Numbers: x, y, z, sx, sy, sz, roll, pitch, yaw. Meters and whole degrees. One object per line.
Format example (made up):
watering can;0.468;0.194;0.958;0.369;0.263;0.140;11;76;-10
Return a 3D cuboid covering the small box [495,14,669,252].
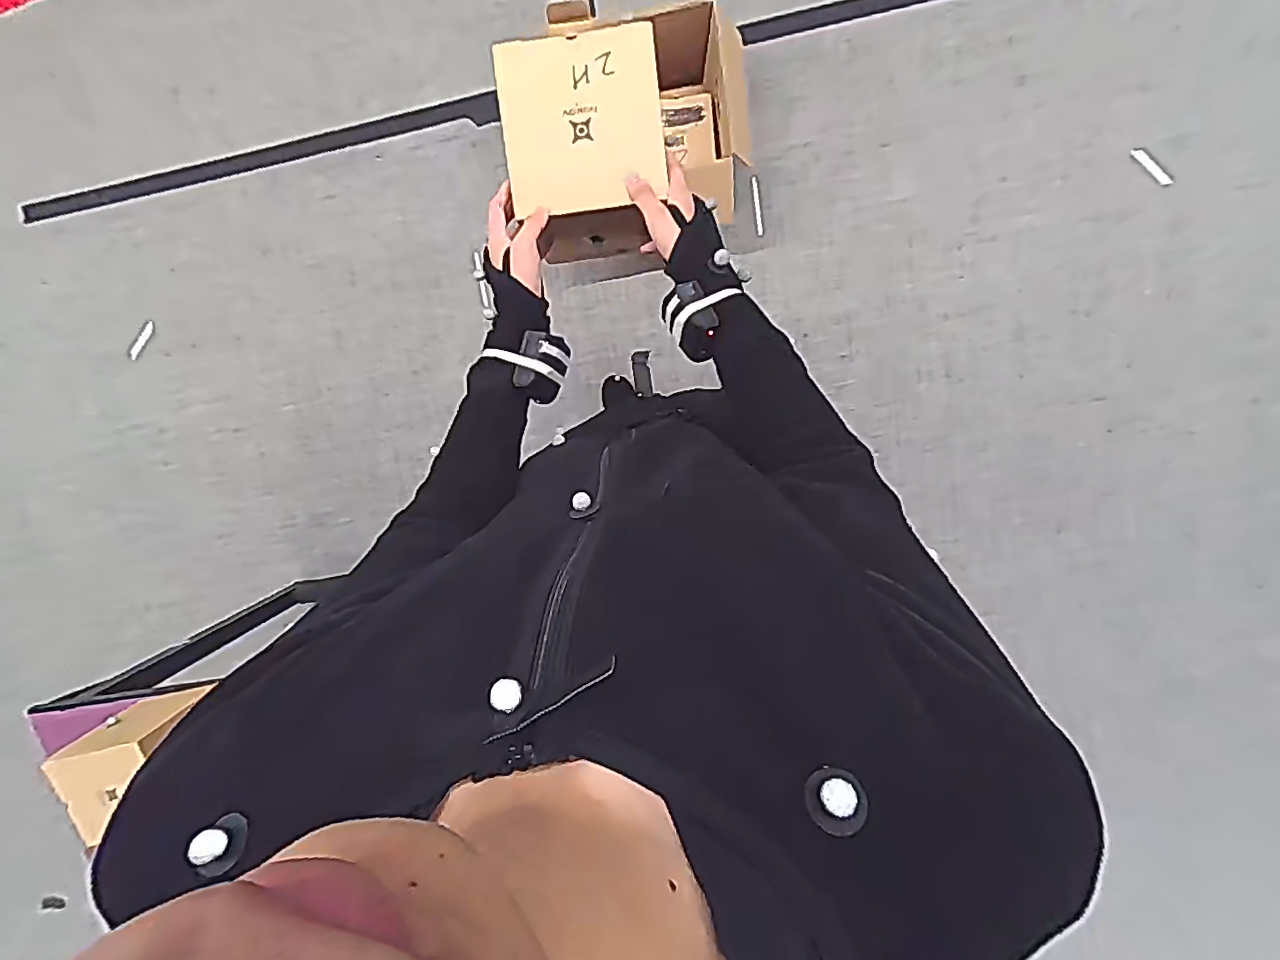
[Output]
small box;-0.054;-0.378;0.627;0.168;0.176;0.179;-6;96;2

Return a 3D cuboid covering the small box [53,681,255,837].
small box;-0.840;0.482;0.954;0.179;0.176;0.168;-13;101;7
